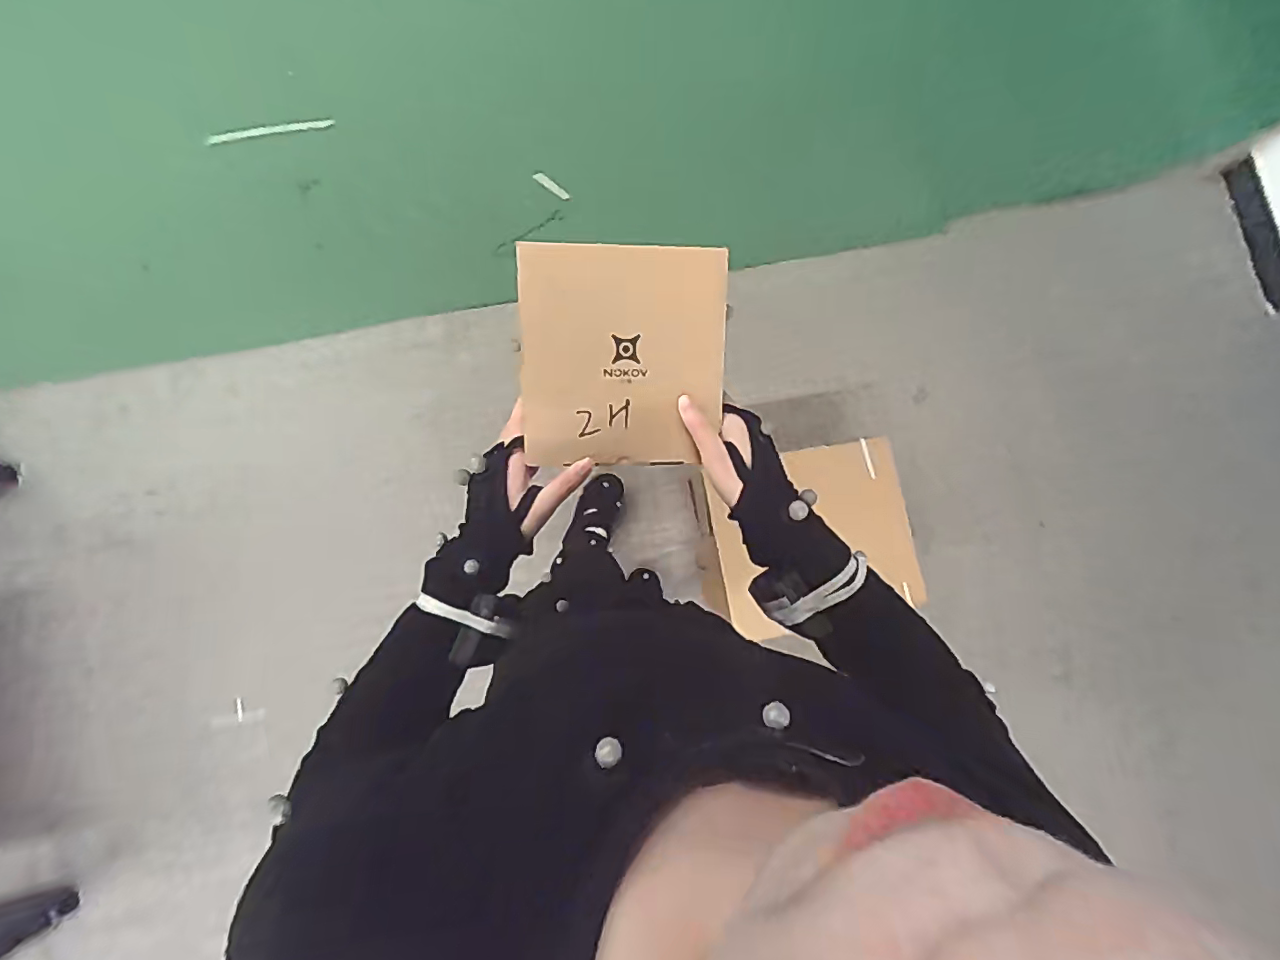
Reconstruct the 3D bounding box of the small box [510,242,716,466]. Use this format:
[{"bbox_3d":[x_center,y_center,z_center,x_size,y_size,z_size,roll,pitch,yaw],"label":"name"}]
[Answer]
[{"bbox_3d":[-0.029,-0.115,0.514,0.168,0.176,0.179,-2,103,-6],"label":"small box"}]
